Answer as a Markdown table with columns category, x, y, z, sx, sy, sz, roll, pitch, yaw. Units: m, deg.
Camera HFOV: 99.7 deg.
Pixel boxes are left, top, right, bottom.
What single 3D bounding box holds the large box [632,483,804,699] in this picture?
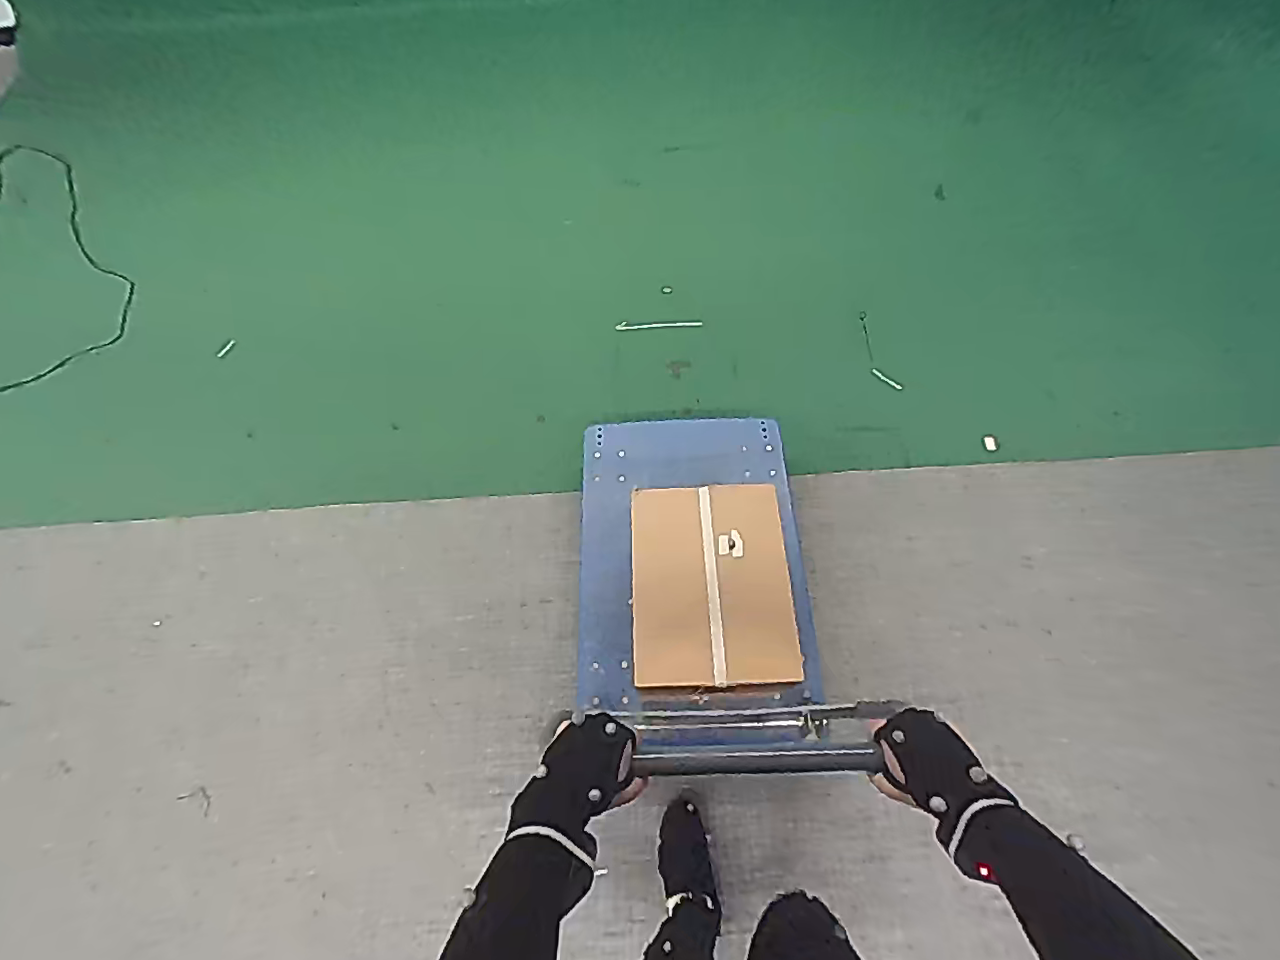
| category | x | y | z | sx | sy | sz | roll | pitch | yaw |
| --- | --- | --- | --- | --- | --- | --- | --- | --- | --- |
| large box | 0.151 | 0.259 | 1.214 | 0.320 | 0.320 | 0.408 | -2 | 63 | 1 |
